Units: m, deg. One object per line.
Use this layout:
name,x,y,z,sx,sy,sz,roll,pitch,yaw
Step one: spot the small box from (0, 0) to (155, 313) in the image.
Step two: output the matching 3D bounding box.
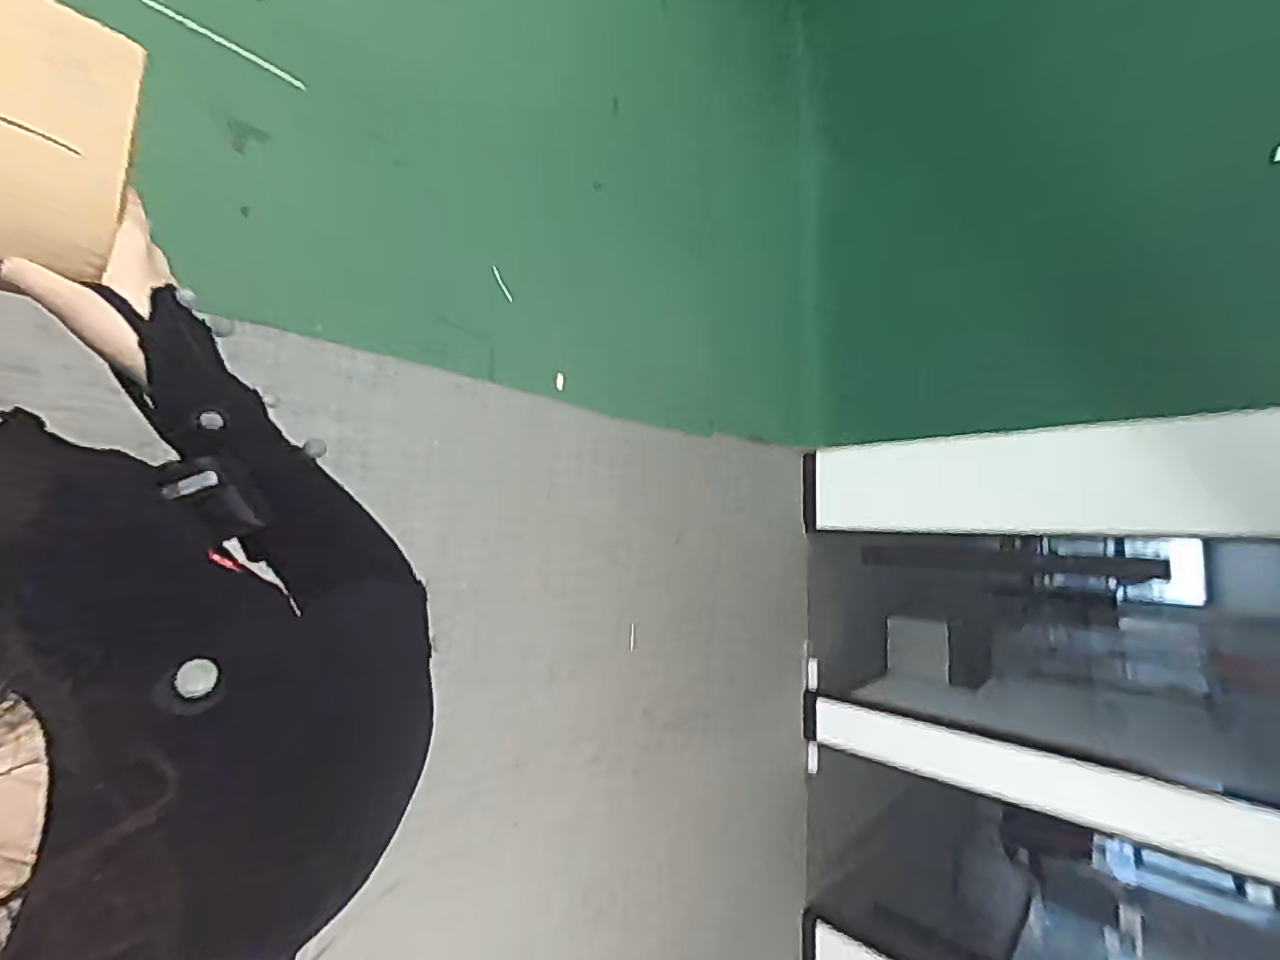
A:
small box,-0.452,-0.219,0.354,0.179,0.176,0.168,11,89,-46
